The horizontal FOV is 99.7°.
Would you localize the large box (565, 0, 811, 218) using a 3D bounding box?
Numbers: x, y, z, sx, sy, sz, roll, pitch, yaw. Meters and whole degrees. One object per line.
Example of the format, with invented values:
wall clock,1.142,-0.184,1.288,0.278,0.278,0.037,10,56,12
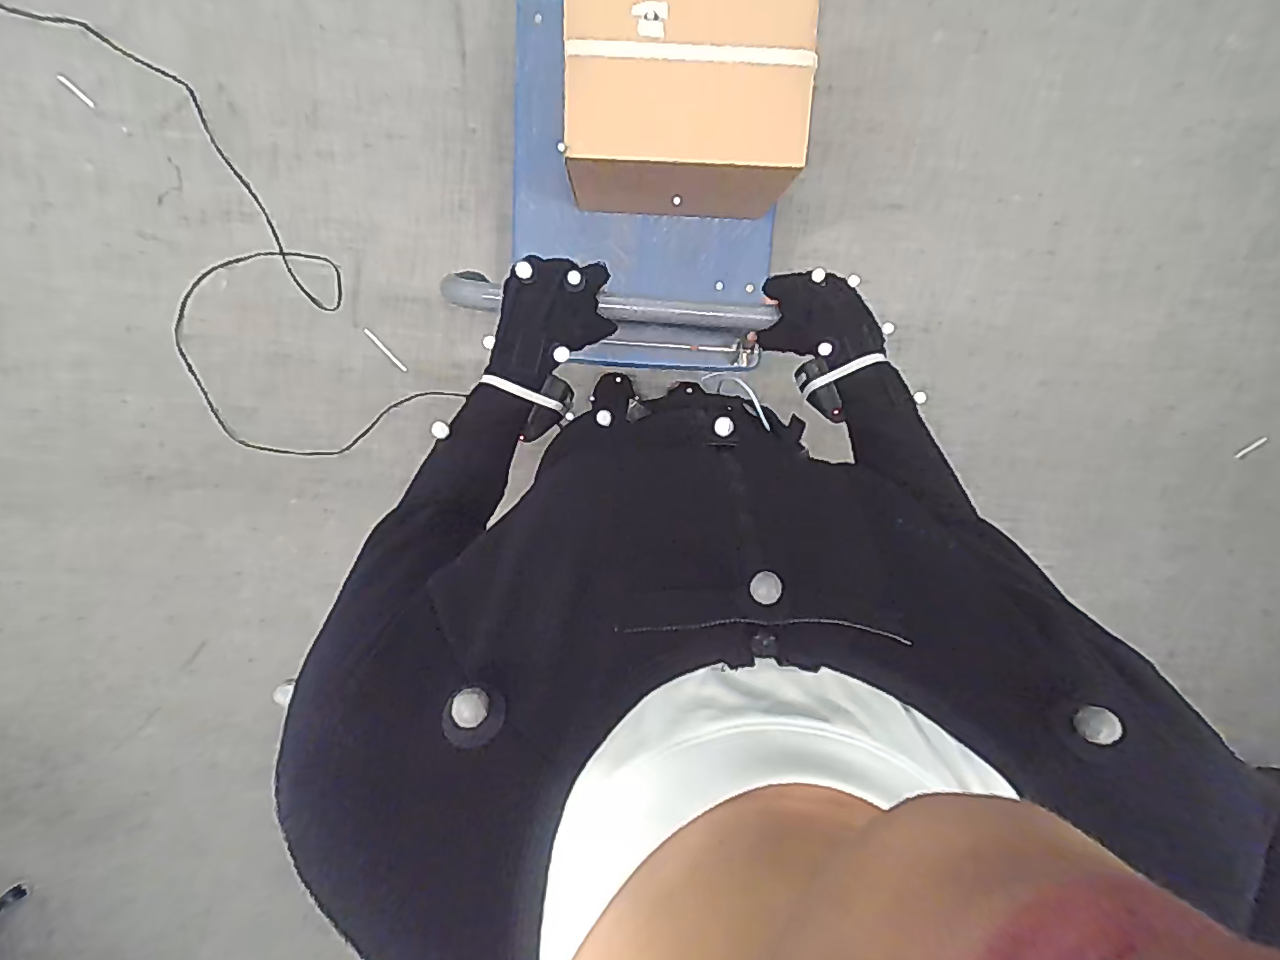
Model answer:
large box,0.076,-0.706,1.030,0.408,0.320,0.320,2,100,-1
